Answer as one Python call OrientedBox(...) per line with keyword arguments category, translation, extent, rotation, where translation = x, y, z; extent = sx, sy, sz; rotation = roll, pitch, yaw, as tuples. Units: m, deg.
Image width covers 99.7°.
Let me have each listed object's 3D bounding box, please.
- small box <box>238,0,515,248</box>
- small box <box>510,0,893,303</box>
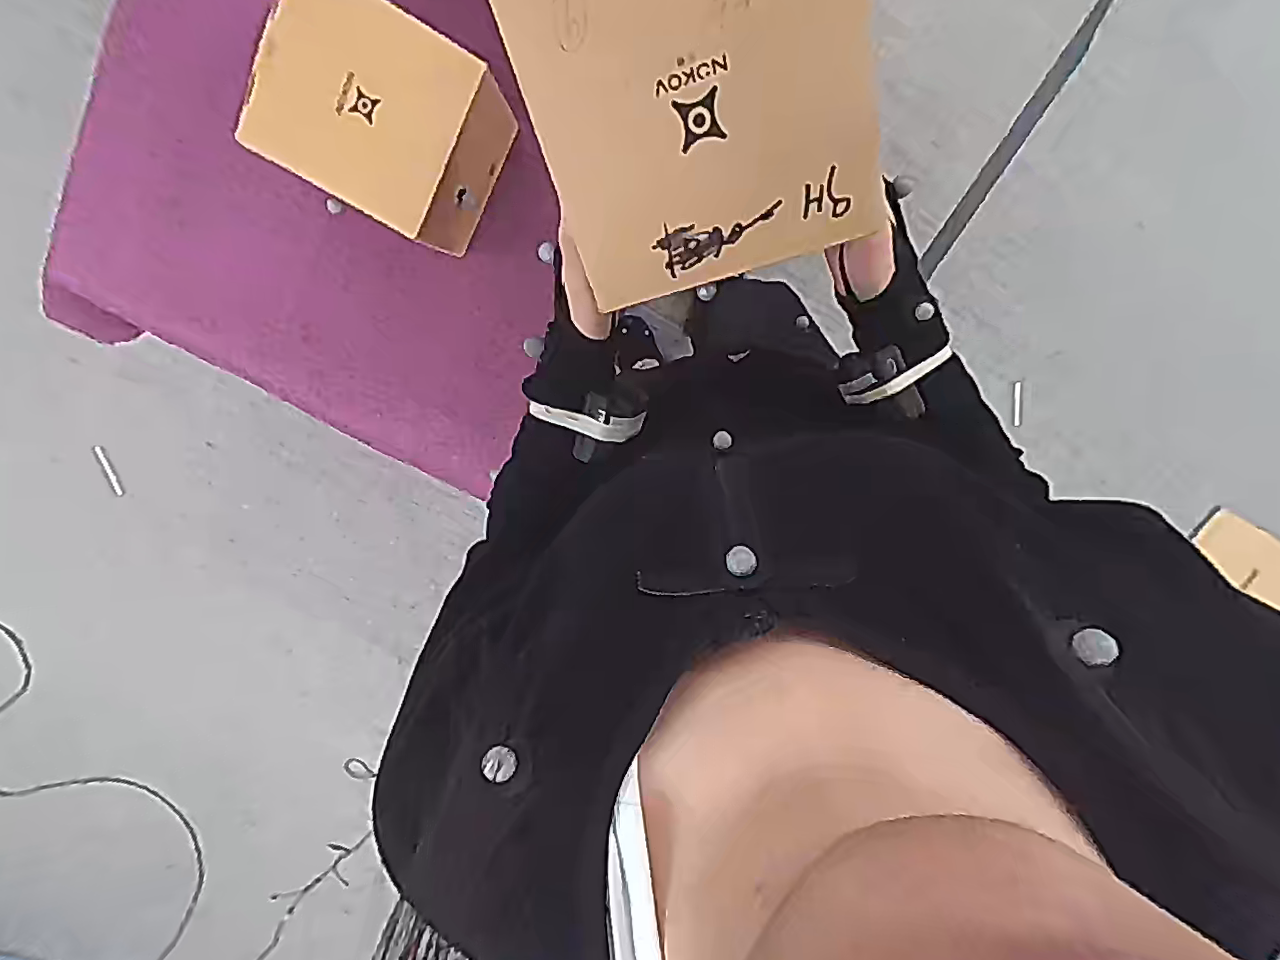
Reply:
OrientedBox(category="small box", translation=(-0.249, -0.358, 0.555), extent=(0.179, 0.176, 0.168), rotation=(28, 104, -8))
OrientedBox(category="small box", translation=(0.039, -0.233, 0.329), extent=(0.168, 0.176, 0.179), rotation=(-12, 121, 13))
